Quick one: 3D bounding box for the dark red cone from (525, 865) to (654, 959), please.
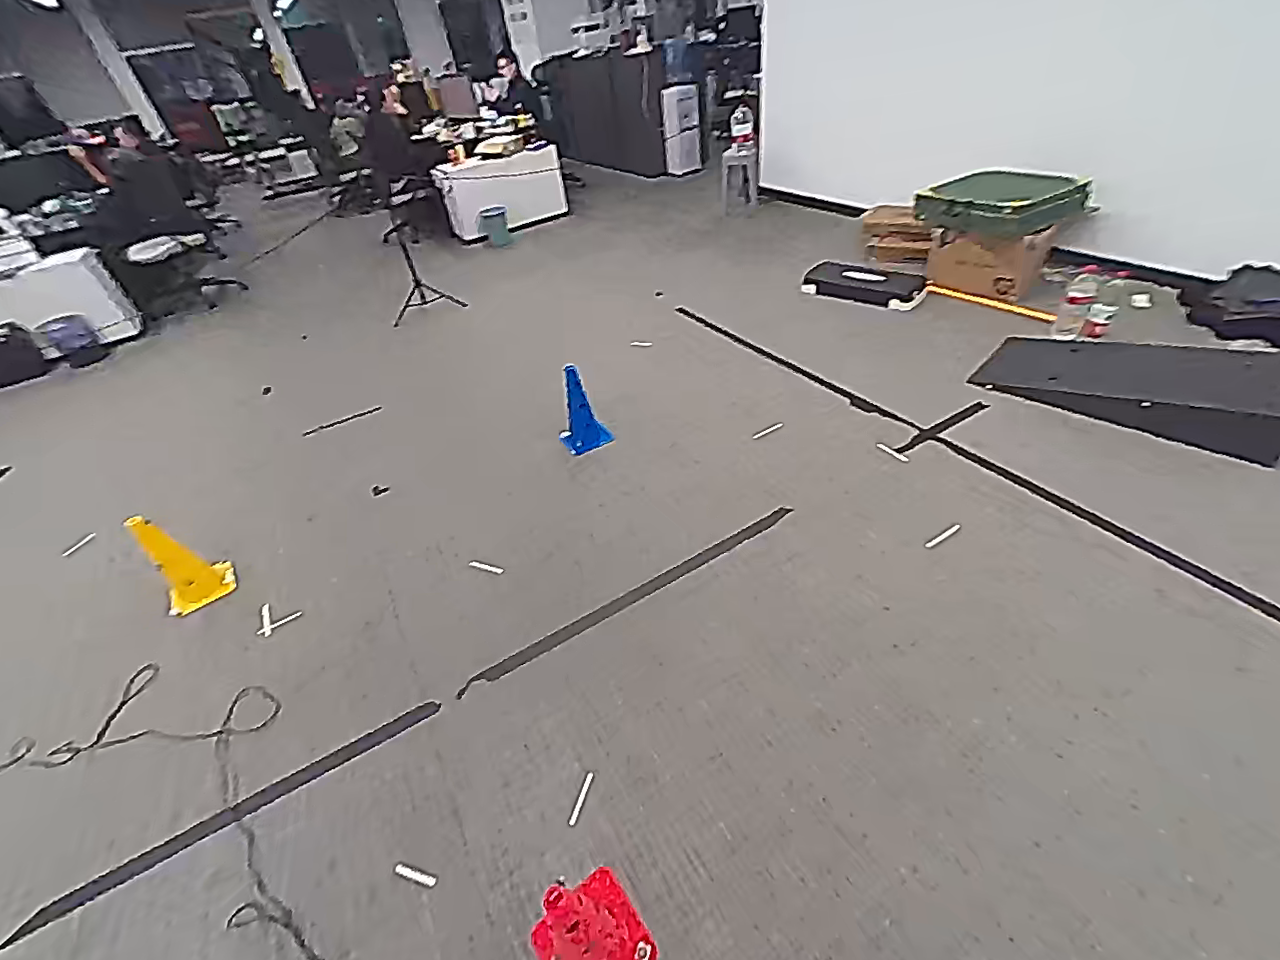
[{"bbox_3d":[-0.121,0.780,0.947,0.202,0.394,0.201,-31,44,-24],"label":"dark red cone"}]

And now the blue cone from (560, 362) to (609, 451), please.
[{"bbox_3d":[-0.268,-0.325,2.310,0.193,0.380,0.192,-25,42,-18],"label":"blue cone"}]
